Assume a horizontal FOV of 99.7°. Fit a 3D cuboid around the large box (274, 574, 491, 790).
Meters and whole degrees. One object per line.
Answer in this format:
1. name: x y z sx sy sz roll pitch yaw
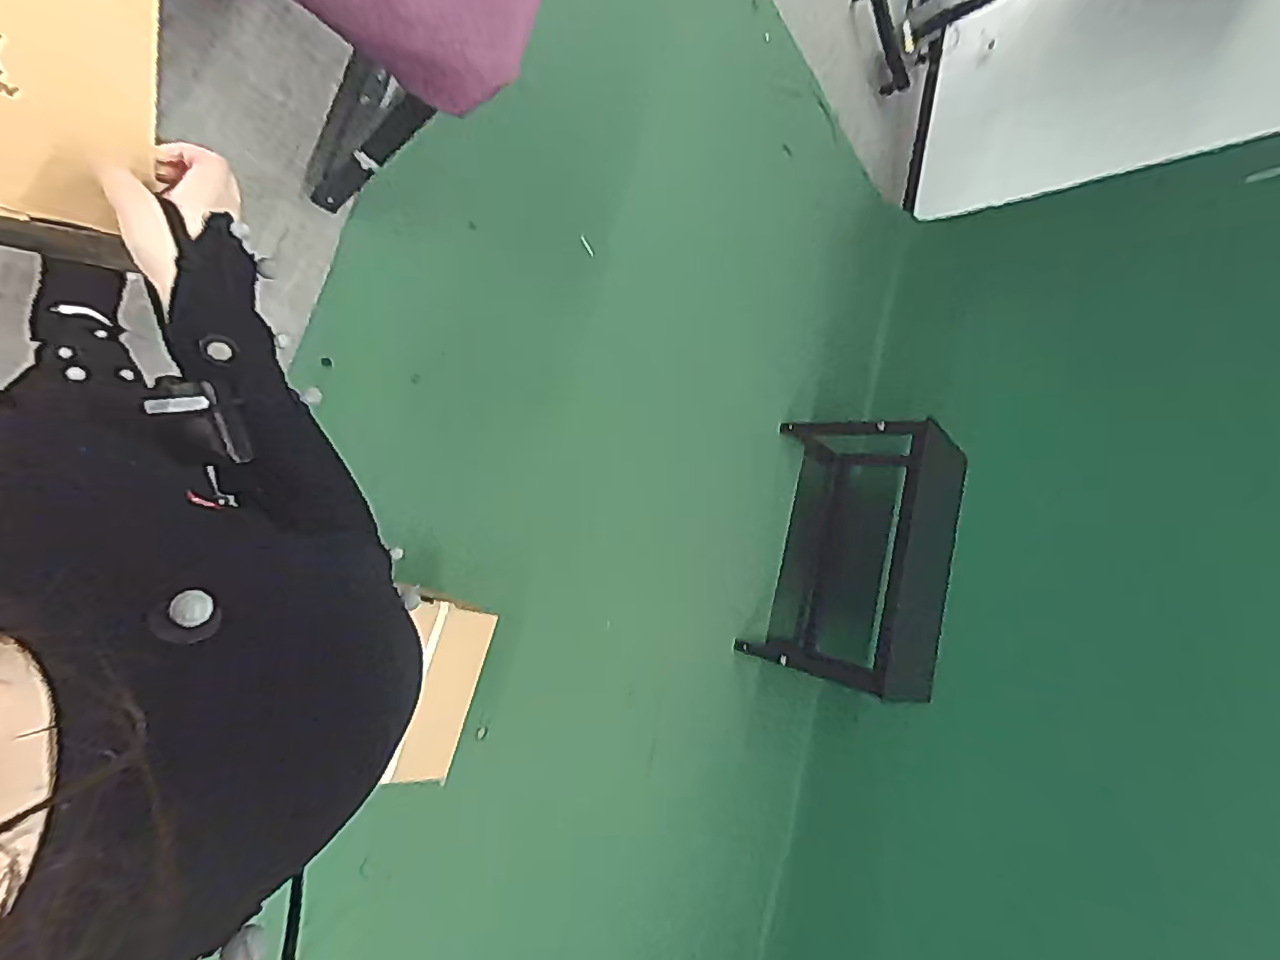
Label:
1. large box: -0.634 0.478 1.340 0.320 0.320 0.408 26 76 -43
